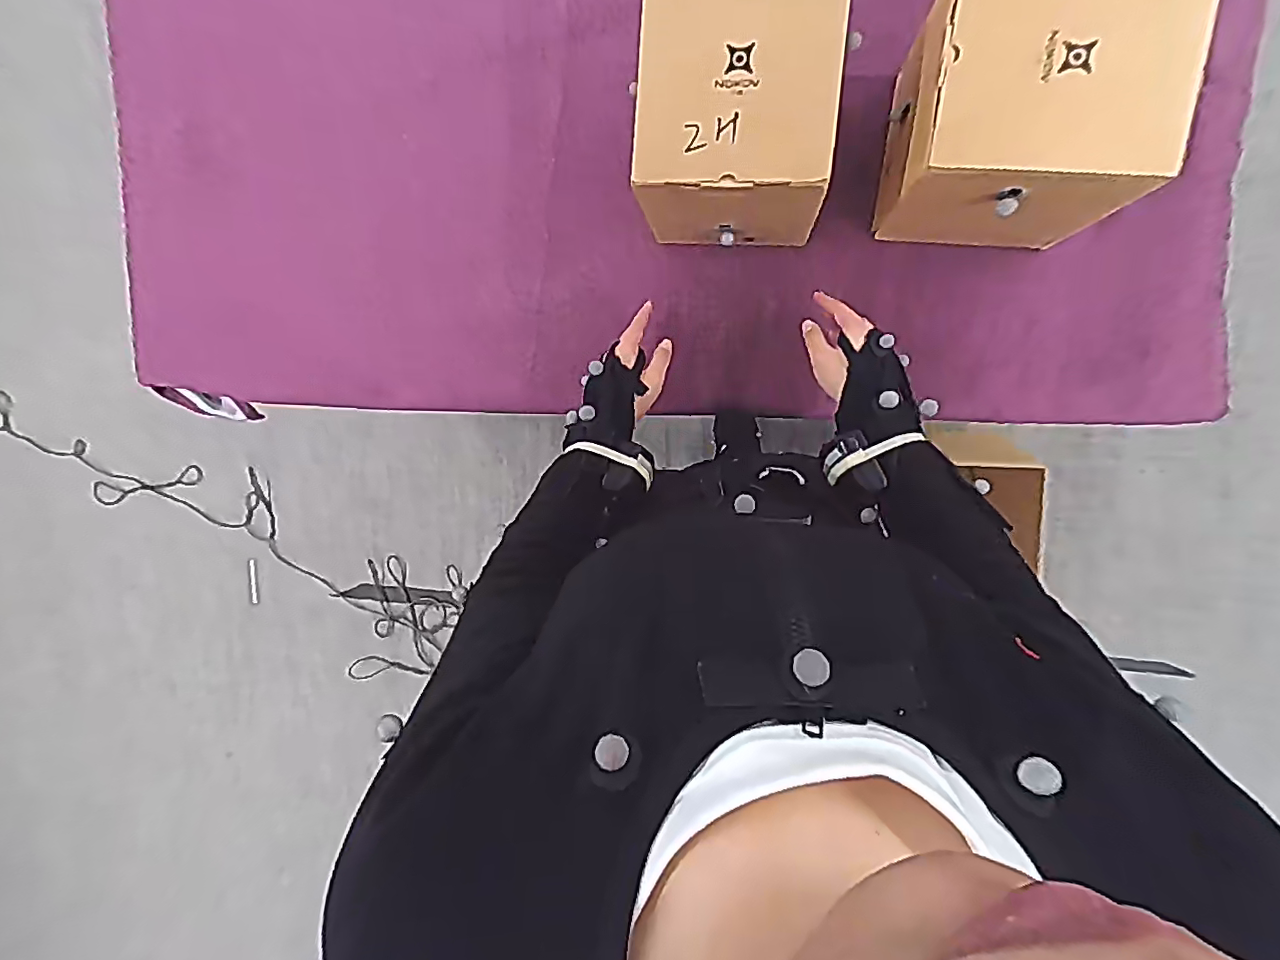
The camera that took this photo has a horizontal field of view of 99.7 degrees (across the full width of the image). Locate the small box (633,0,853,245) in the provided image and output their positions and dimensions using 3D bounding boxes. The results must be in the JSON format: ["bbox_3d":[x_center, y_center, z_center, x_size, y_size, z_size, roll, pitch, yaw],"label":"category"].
[{"bbox_3d":[0.094,-0.343,0.514,0.168,0.176,0.179,6,98,10],"label":"small box"}]

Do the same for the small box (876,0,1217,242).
[{"bbox_3d":[0.332,-0.323,0.477,0.179,0.176,0.168,8,97,9],"label":"small box"}]
